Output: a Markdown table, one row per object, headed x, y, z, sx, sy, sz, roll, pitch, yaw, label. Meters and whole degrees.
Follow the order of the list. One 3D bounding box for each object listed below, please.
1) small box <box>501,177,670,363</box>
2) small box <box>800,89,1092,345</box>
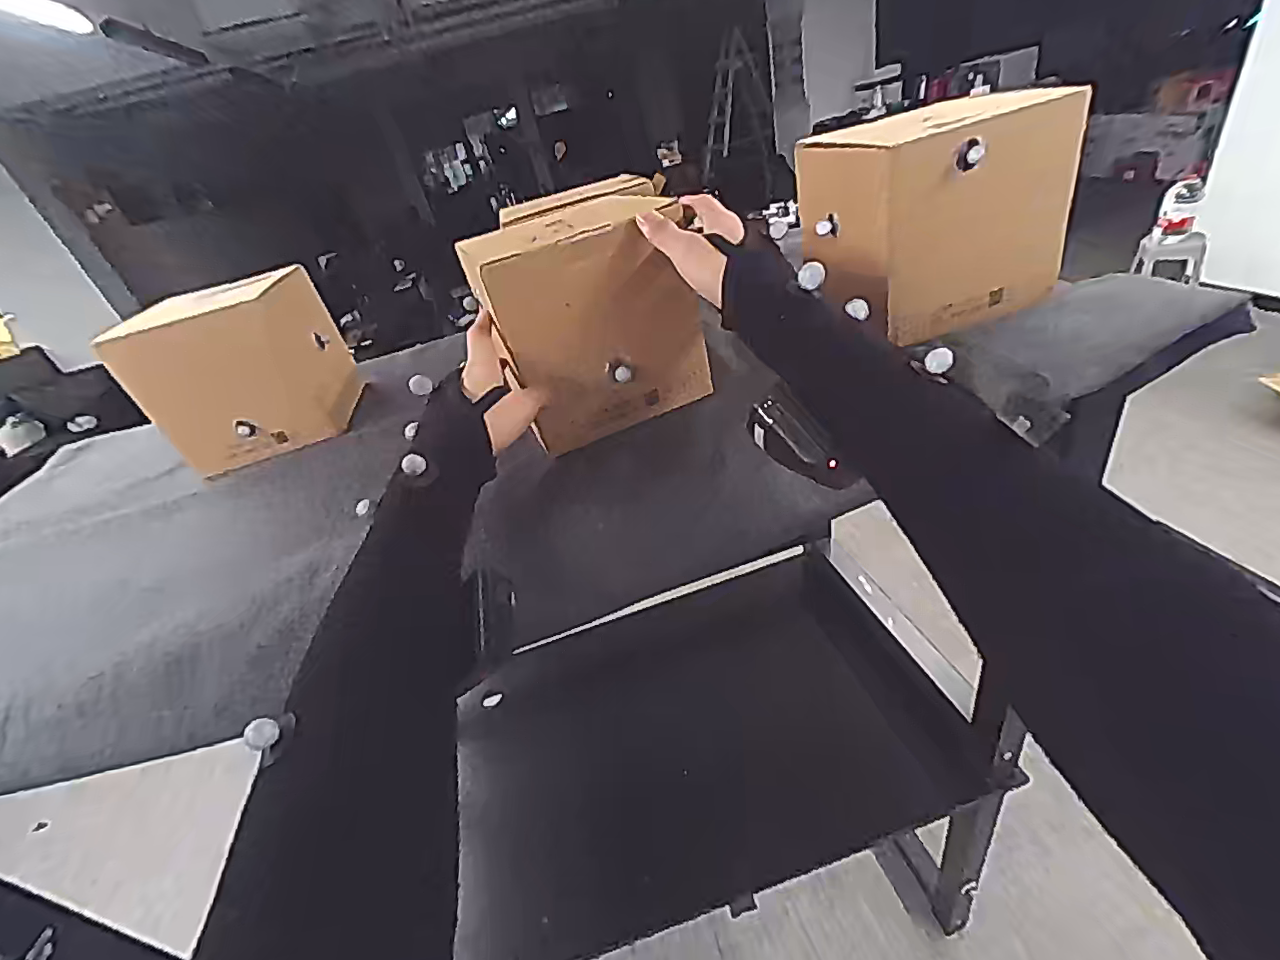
| x | y | z | sx | sy | sz | roll | pitch | yaw | label |
| --- | --- | --- | --- | --- | --- | --- | --- | --- | --- |
| -0.067 | -0.272 | 0.695 | 0.179 | 0.176 | 0.168 | -17 | 33 | -3 | small box |
| 0.269 | -0.247 | 0.520 | 0.168 | 0.176 | 0.179 | -17 | 32 | -1 | small box |
